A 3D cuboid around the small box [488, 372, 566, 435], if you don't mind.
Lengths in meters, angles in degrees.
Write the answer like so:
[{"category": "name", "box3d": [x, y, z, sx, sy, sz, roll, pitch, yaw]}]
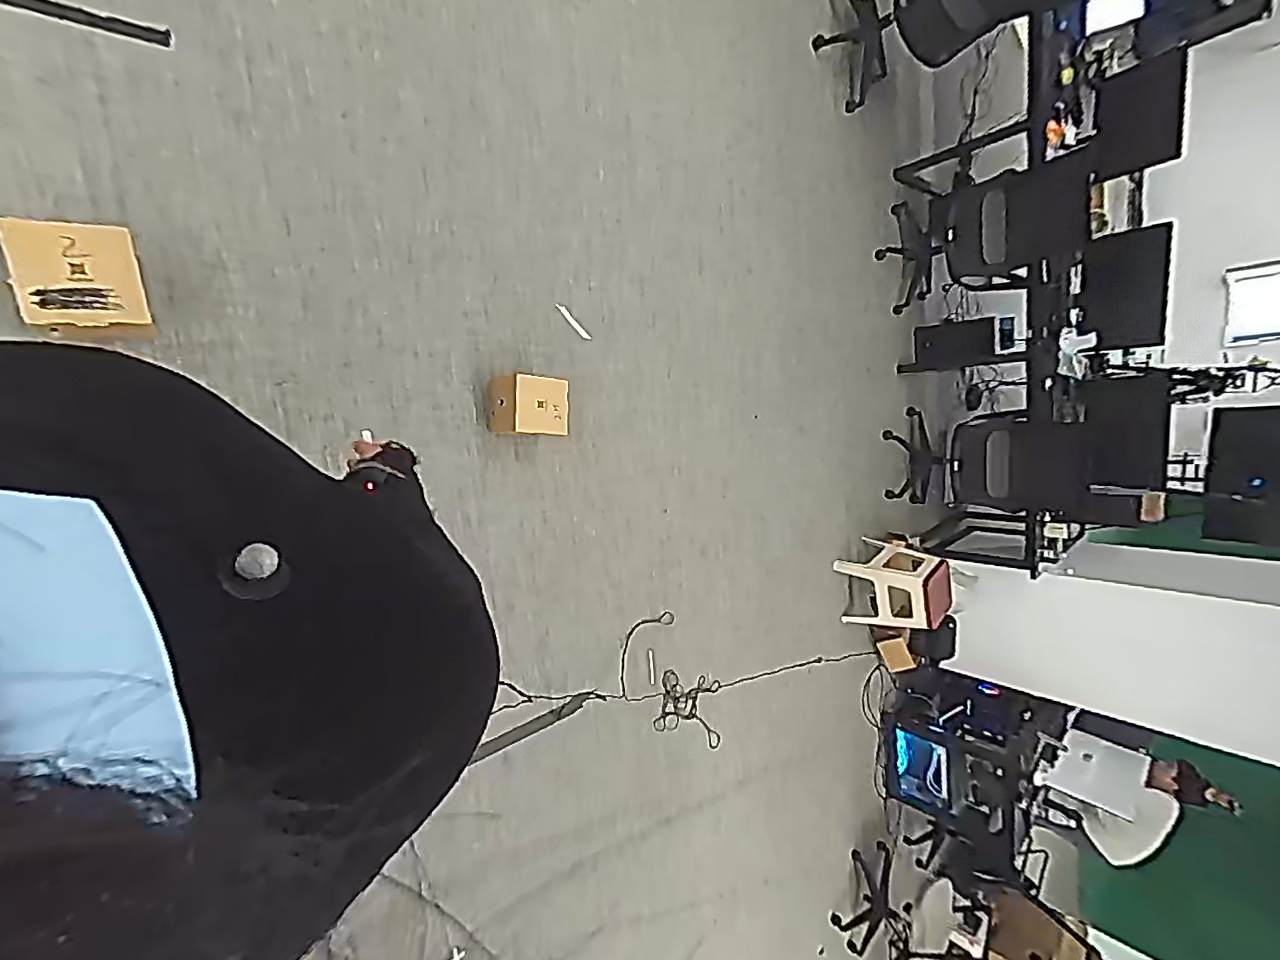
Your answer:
[{"category": "small box", "box3d": [-0.343, -0.223, 1.623, 0.179, 0.176, 0.168, 1, 93, -42]}]
